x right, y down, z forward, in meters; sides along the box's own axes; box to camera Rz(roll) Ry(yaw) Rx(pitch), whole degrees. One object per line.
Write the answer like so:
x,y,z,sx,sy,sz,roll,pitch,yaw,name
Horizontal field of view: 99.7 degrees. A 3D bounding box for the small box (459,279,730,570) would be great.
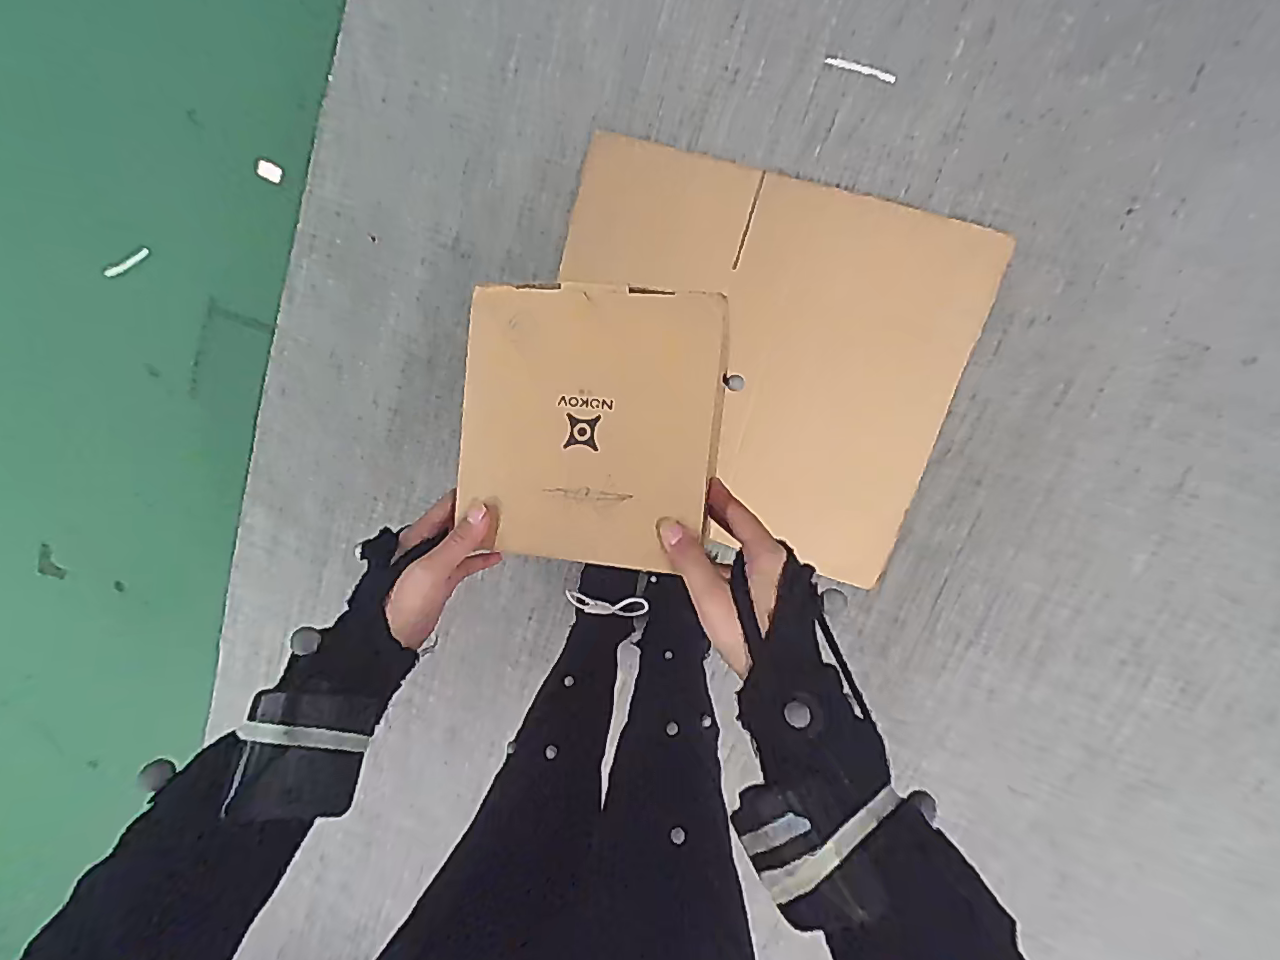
-0.020,-0.041,0.424,0.168,0.176,0.179,6,94,10,small box
